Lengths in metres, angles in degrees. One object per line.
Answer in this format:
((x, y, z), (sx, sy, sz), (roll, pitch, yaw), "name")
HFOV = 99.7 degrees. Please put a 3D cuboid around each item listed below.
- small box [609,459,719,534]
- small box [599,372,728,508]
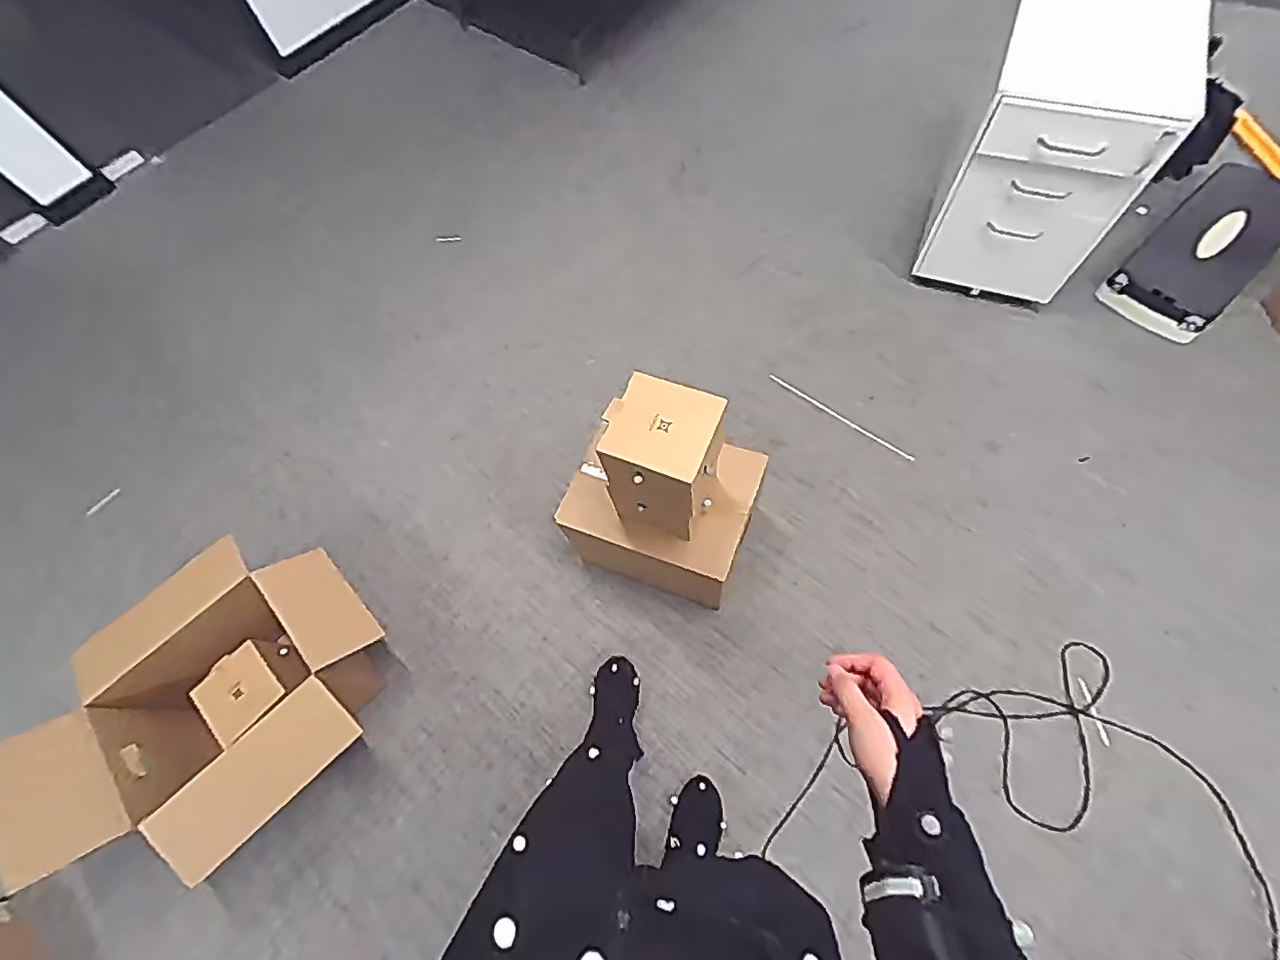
((0.057, -0.003, 1.135), (0.179, 0.176, 0.168), (19, 70, 14), "small box")
((0.051, -0.064, 0.984), (0.179, 0.176, 0.168), (19, 71, 15), "small box")
